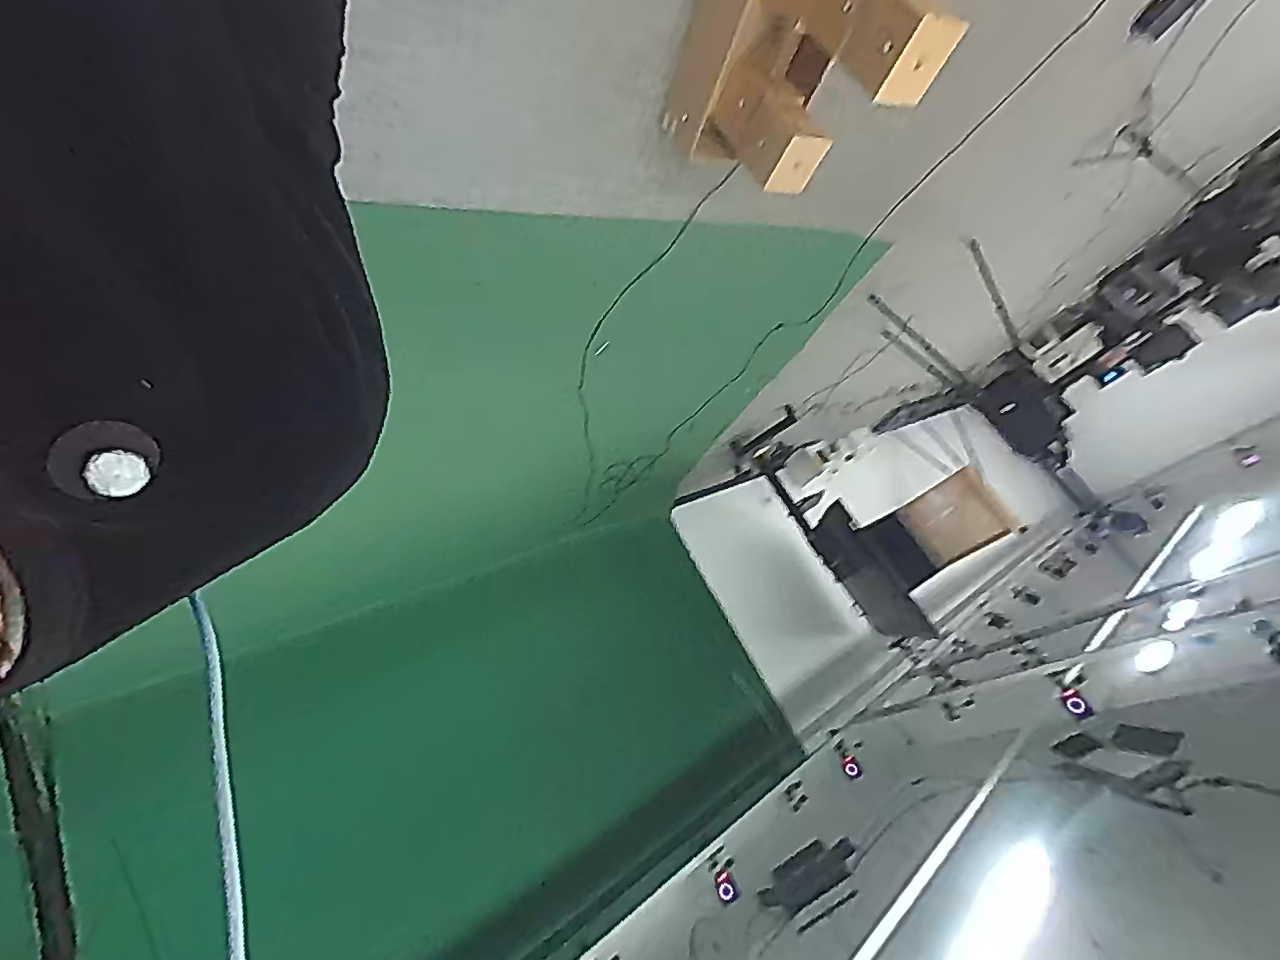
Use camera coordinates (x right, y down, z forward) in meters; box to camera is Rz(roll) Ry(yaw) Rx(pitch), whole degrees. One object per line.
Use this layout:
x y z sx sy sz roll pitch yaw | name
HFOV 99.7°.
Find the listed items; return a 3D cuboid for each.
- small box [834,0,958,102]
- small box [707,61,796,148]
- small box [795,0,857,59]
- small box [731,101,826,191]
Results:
0.591 -1.039 1.279 0.168 0.176 0.179 -18 157 -27 | small box
0.334 -1.137 1.655 0.168 0.176 0.179 -17 156 -32 | small box
0.517 -1.173 1.332 0.168 0.176 0.179 -16 157 -32 | small box
0.406 -0.994 1.612 0.179 0.176 0.168 -18 159 -32 | small box
